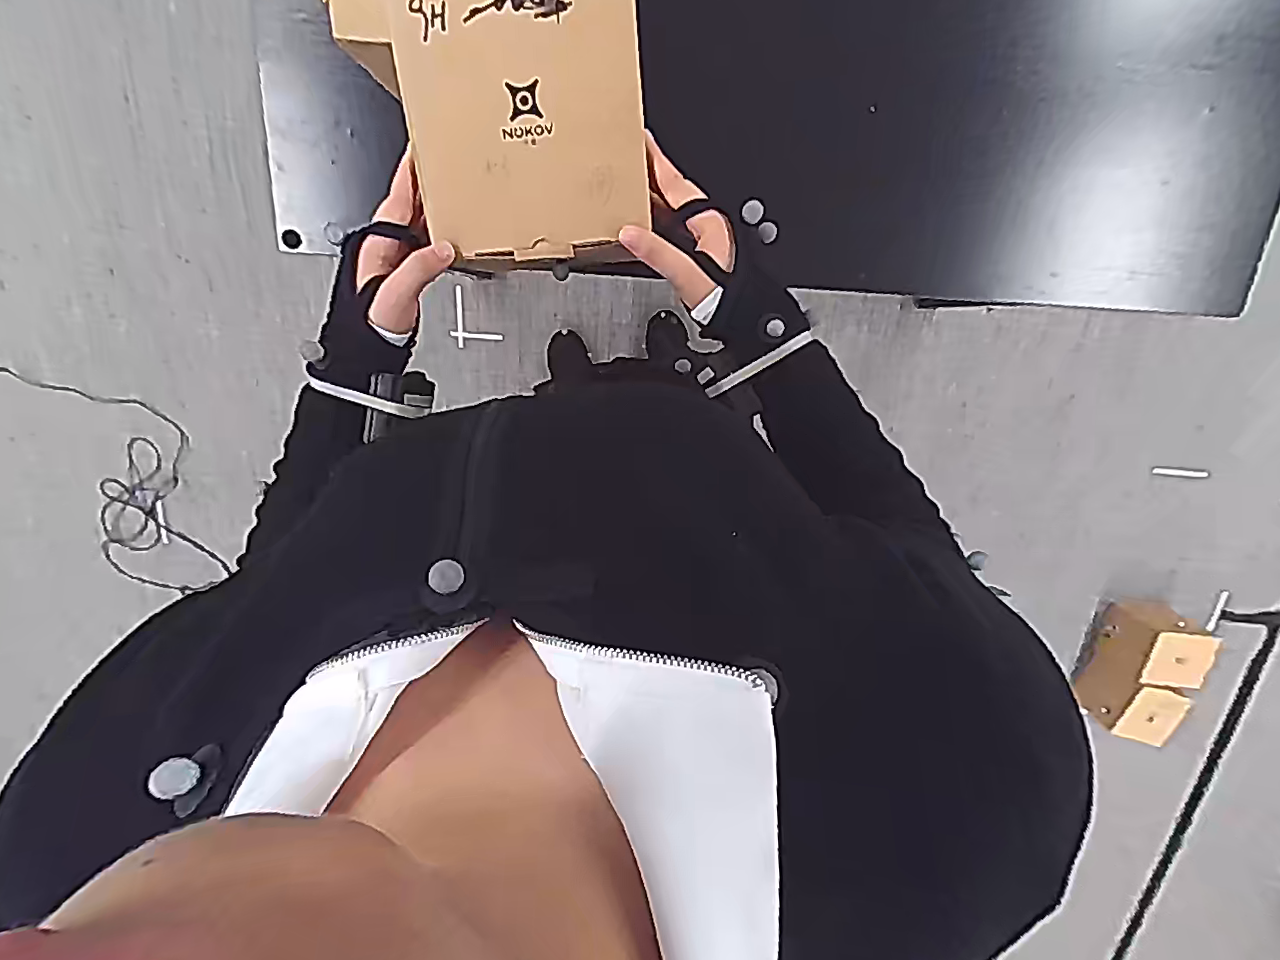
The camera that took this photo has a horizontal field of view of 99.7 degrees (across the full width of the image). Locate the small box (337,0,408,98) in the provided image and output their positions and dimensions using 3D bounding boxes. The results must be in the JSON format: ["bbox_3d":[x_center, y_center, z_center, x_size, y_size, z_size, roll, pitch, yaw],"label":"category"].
[{"bbox_3d":[-0.176,-0.482,0.534,0.179,0.176,0.168,1,107,-2],"label":"small box"}]

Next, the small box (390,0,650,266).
[{"bbox_3d":[-0.078,-0.280,0.458,0.168,0.176,0.179,-5,109,2],"label":"small box"}]
